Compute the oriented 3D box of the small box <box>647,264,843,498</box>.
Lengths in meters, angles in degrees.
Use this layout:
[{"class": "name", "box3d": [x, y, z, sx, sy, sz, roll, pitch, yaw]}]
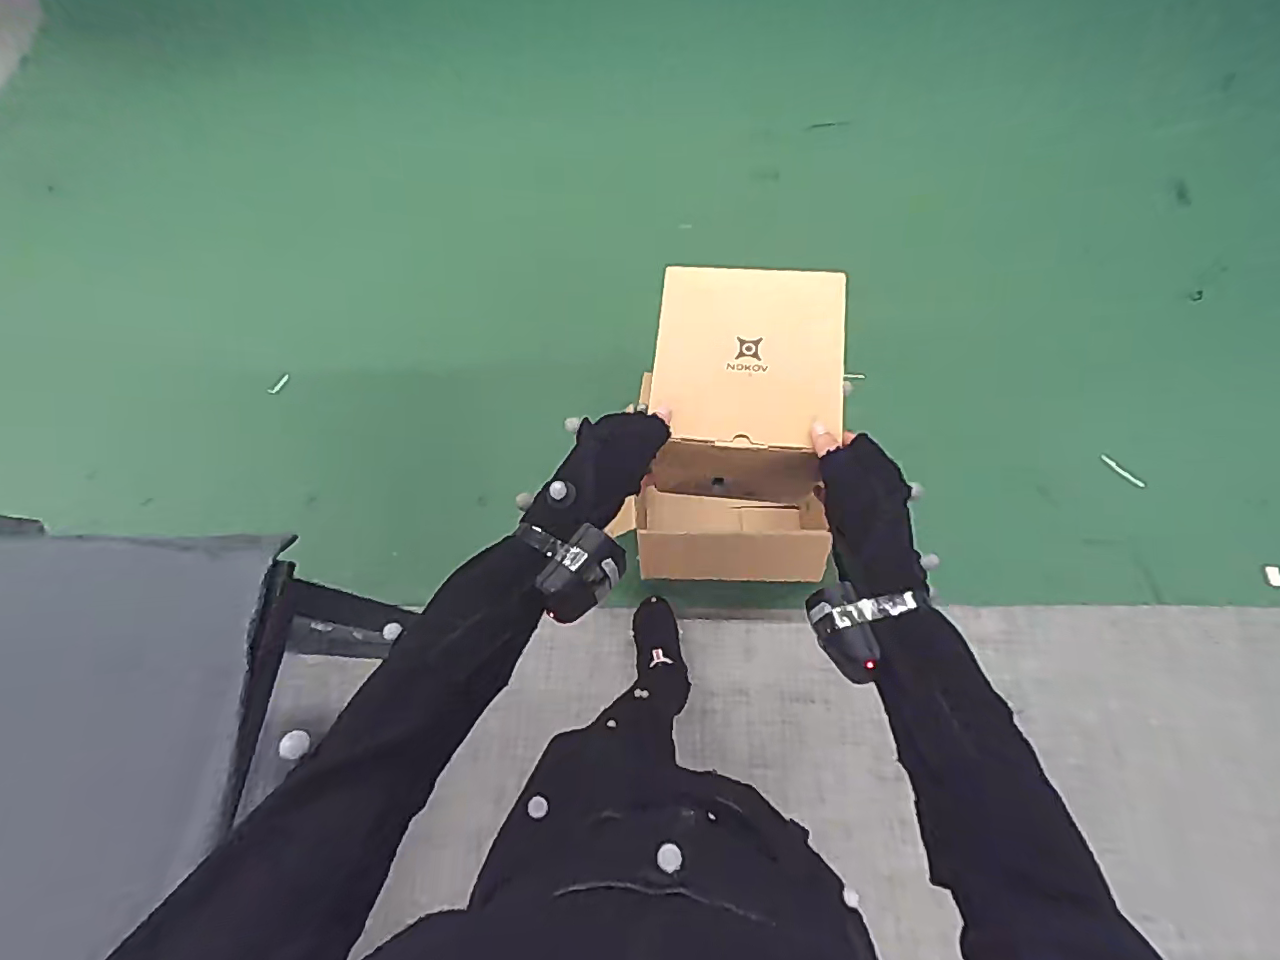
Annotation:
[{"class": "small box", "box3d": [0.102, -0.093, 0.558, 0.168, 0.176, 0.179, 5, 74, 7]}]
